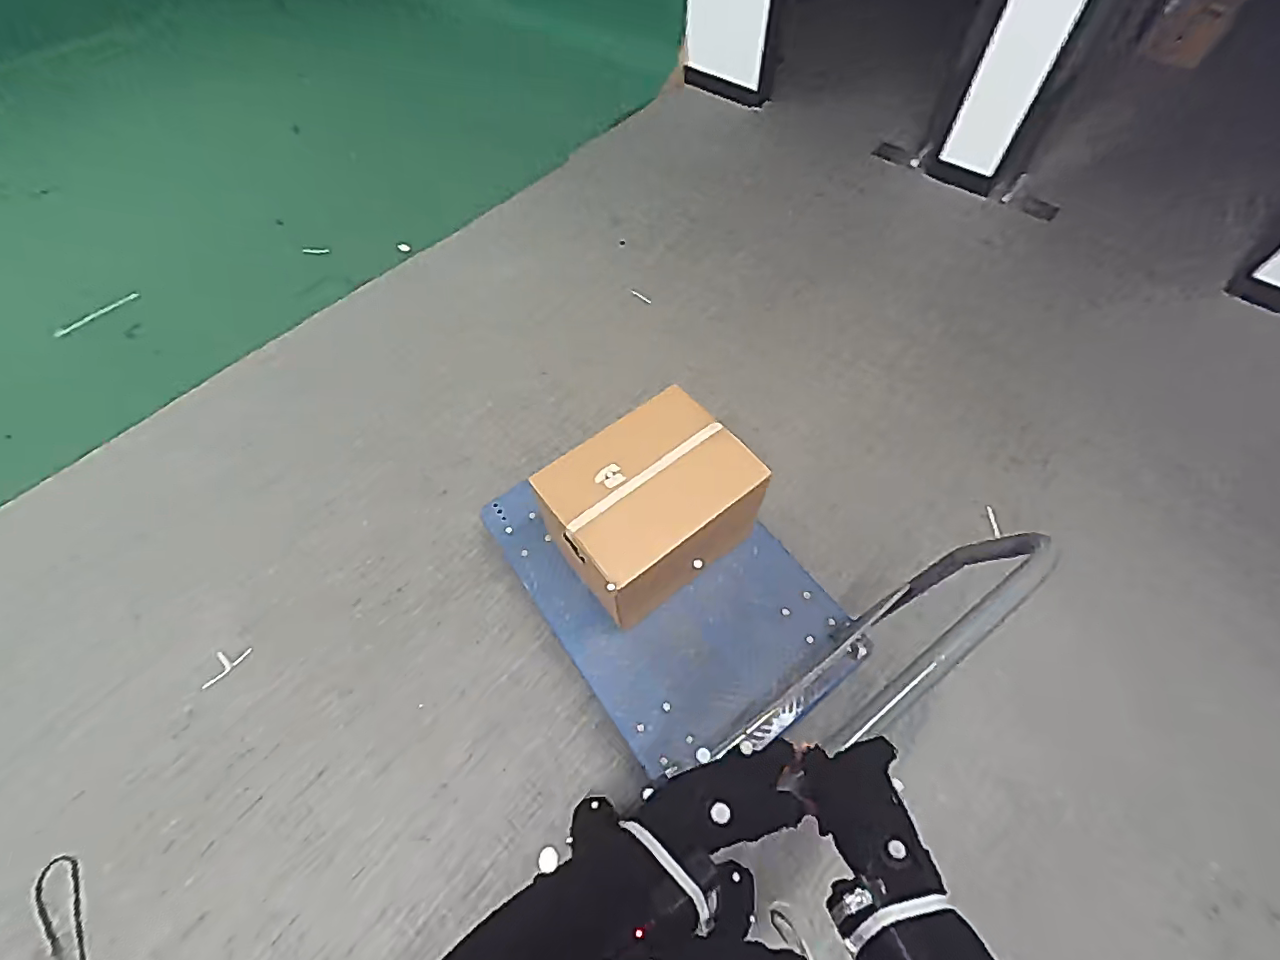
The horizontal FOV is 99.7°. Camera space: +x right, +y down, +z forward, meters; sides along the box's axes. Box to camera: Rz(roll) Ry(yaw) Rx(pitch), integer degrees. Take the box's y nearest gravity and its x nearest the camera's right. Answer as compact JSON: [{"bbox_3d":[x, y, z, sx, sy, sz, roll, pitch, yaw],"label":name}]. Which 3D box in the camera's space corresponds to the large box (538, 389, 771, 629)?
[{"bbox_3d":[0.035,0.072,1.255,0.408,0.320,0.320,-35,64,-17],"label":"large box"}]
